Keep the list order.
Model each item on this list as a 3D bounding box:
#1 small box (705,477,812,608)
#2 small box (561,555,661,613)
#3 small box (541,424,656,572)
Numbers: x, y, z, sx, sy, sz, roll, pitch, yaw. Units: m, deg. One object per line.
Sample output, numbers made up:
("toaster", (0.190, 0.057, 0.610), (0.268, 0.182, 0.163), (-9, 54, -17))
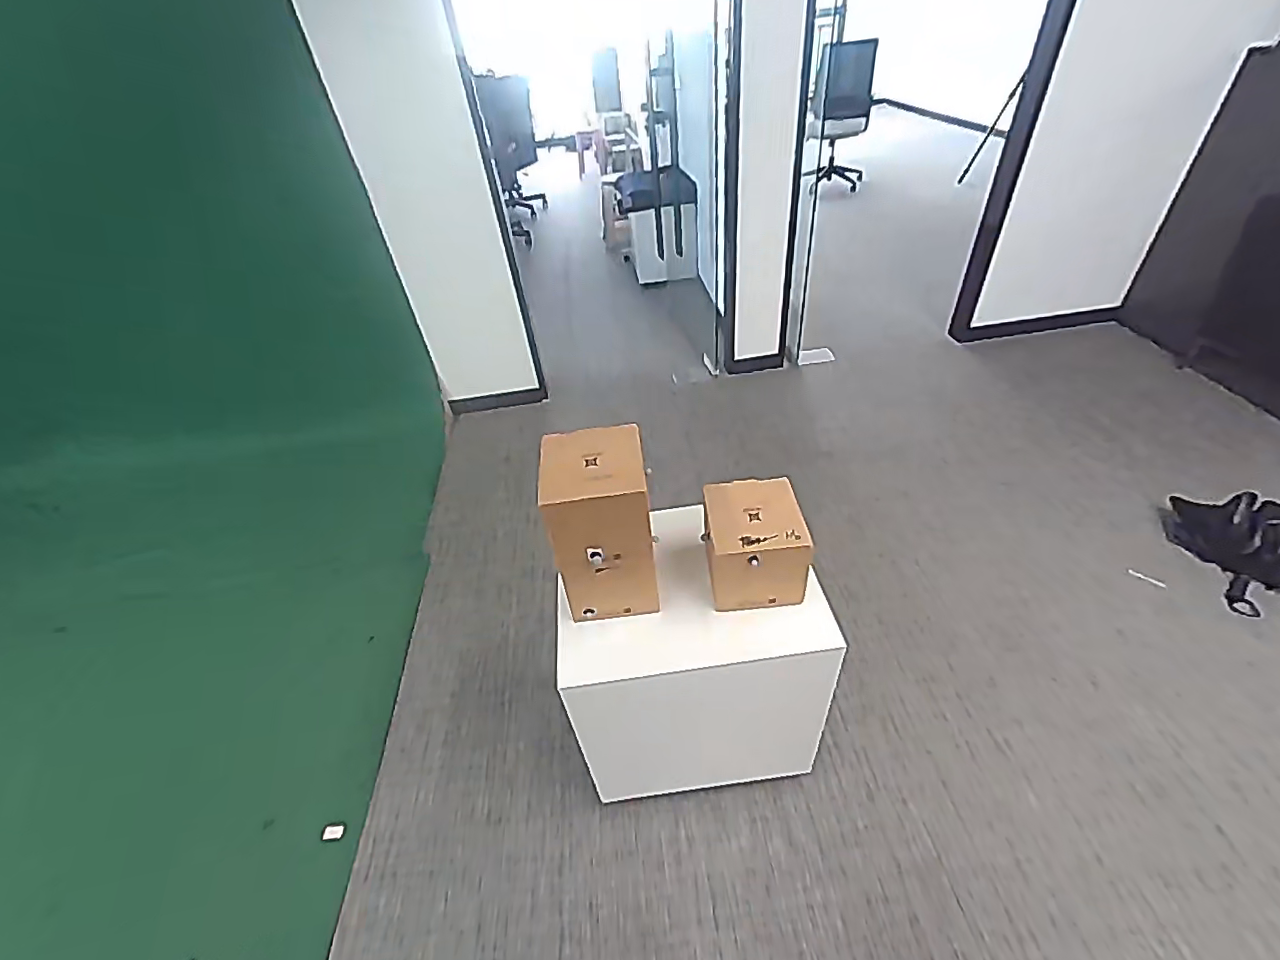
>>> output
("small box", (0.215, 0.119, 1.025), (0.168, 0.176, 0.179), (-6, 41, 3))
("small box", (-0.053, 0.140, 1.041), (0.168, 0.176, 0.179), (-7, 41, 0))
("small box", (-0.067, 0.030, 0.922), (0.168, 0.176, 0.179), (-8, 42, 0))
